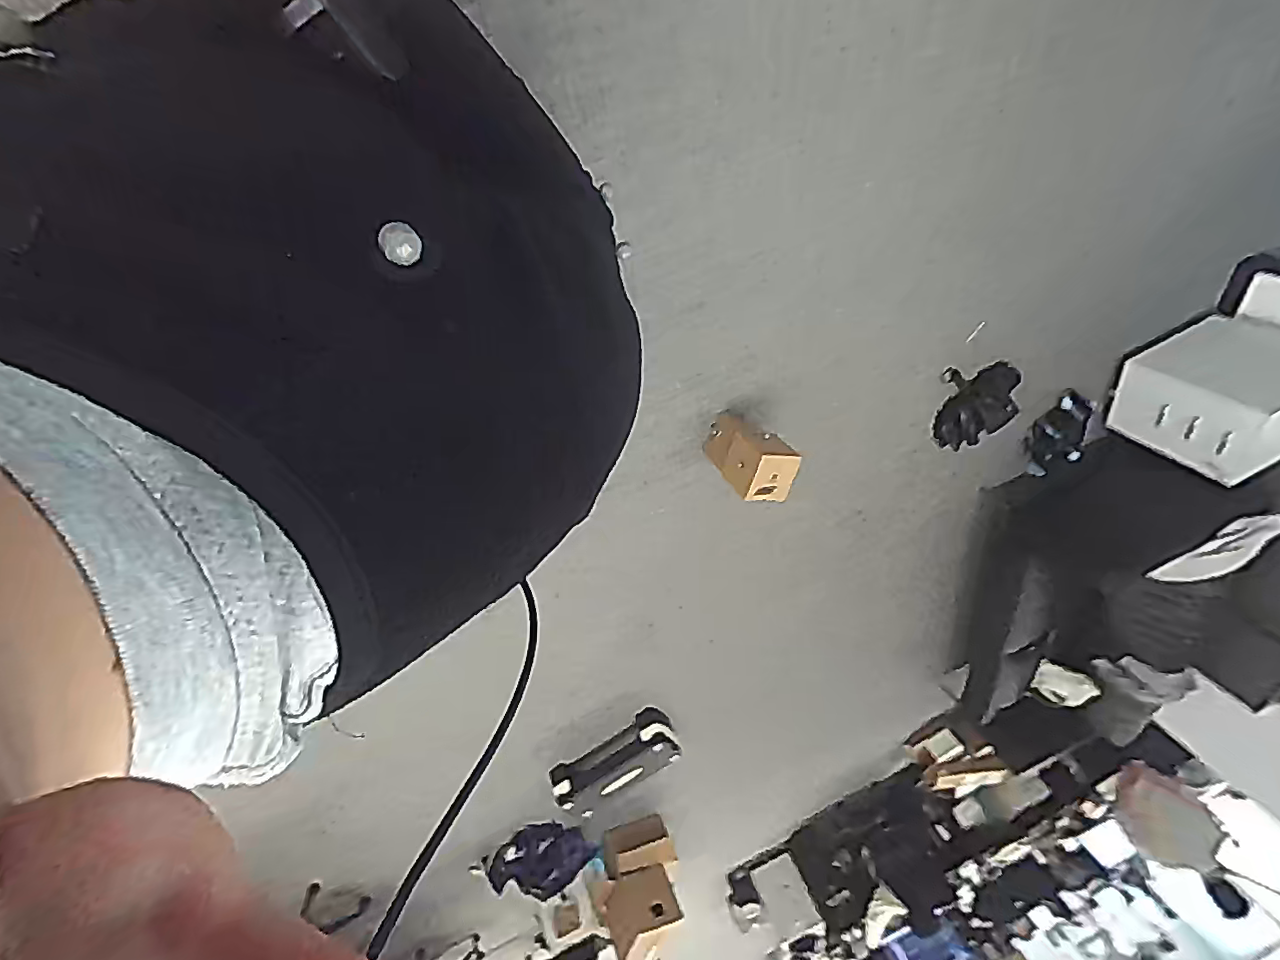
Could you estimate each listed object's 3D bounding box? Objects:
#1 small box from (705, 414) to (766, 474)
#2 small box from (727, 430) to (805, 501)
[{"bbox_3d":[0.368,-0.118,1.951,0.179,0.176,0.168,13,116,-30],"label":"small box"},{"bbox_3d":[0.412,-0.047,1.806,0.168,0.176,0.179,0,121,-25],"label":"small box"}]
